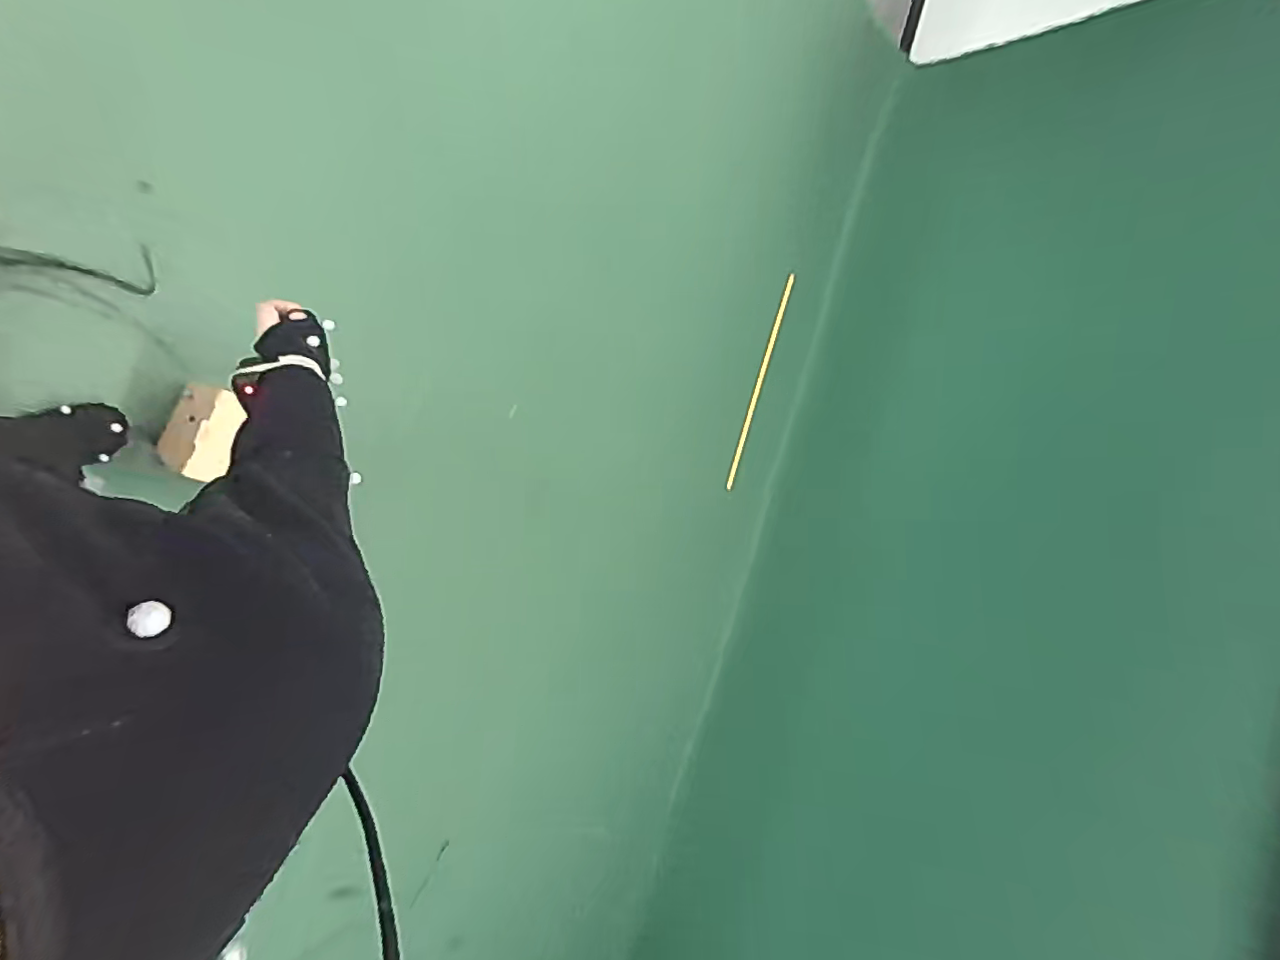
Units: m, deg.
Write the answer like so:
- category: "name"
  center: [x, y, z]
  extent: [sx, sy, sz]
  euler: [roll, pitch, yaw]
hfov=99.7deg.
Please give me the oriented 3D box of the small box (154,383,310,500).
- category: "small box"
  center: [-0.789, -0.078, 1.047]
  extent: [0.179, 0.176, 0.168]
  euler: [29, 79, -49]
